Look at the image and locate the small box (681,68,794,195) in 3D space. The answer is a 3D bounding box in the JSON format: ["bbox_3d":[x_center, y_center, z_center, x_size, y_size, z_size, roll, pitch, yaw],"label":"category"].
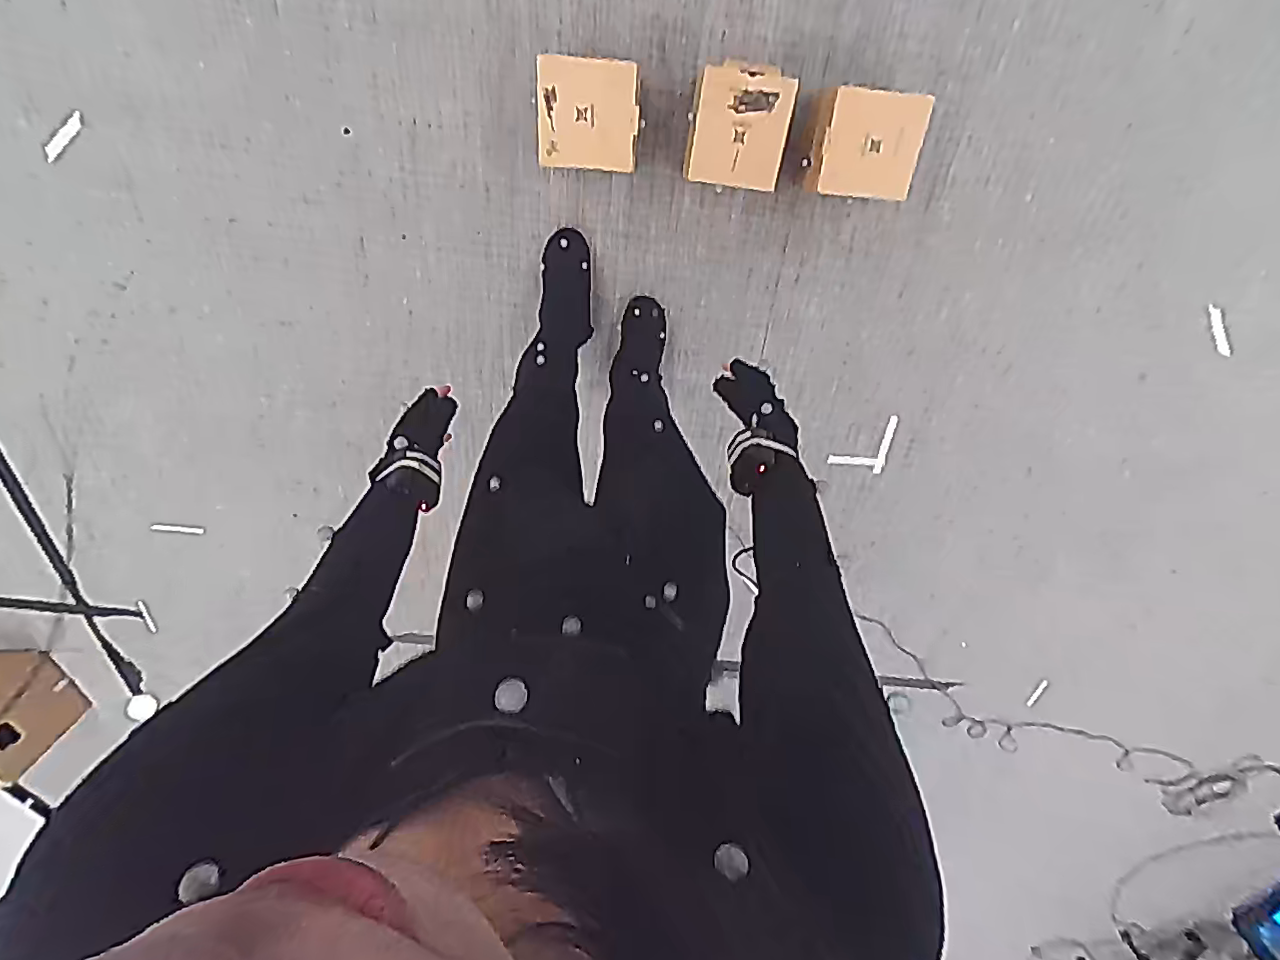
[{"bbox_3d":[0.175,-0.661,1.038,0.168,0.176,0.179,7,122,-3],"label":"small box"}]

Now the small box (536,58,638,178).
[{"bbox_3d":[-0.097,-0.681,1.029,0.179,0.176,0.168,4,121,-2],"label":"small box"}]

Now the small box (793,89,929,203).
[{"bbox_3d":[0.413,-0.644,1.048,0.179,0.176,0.168,3,123,-3],"label":"small box"}]
